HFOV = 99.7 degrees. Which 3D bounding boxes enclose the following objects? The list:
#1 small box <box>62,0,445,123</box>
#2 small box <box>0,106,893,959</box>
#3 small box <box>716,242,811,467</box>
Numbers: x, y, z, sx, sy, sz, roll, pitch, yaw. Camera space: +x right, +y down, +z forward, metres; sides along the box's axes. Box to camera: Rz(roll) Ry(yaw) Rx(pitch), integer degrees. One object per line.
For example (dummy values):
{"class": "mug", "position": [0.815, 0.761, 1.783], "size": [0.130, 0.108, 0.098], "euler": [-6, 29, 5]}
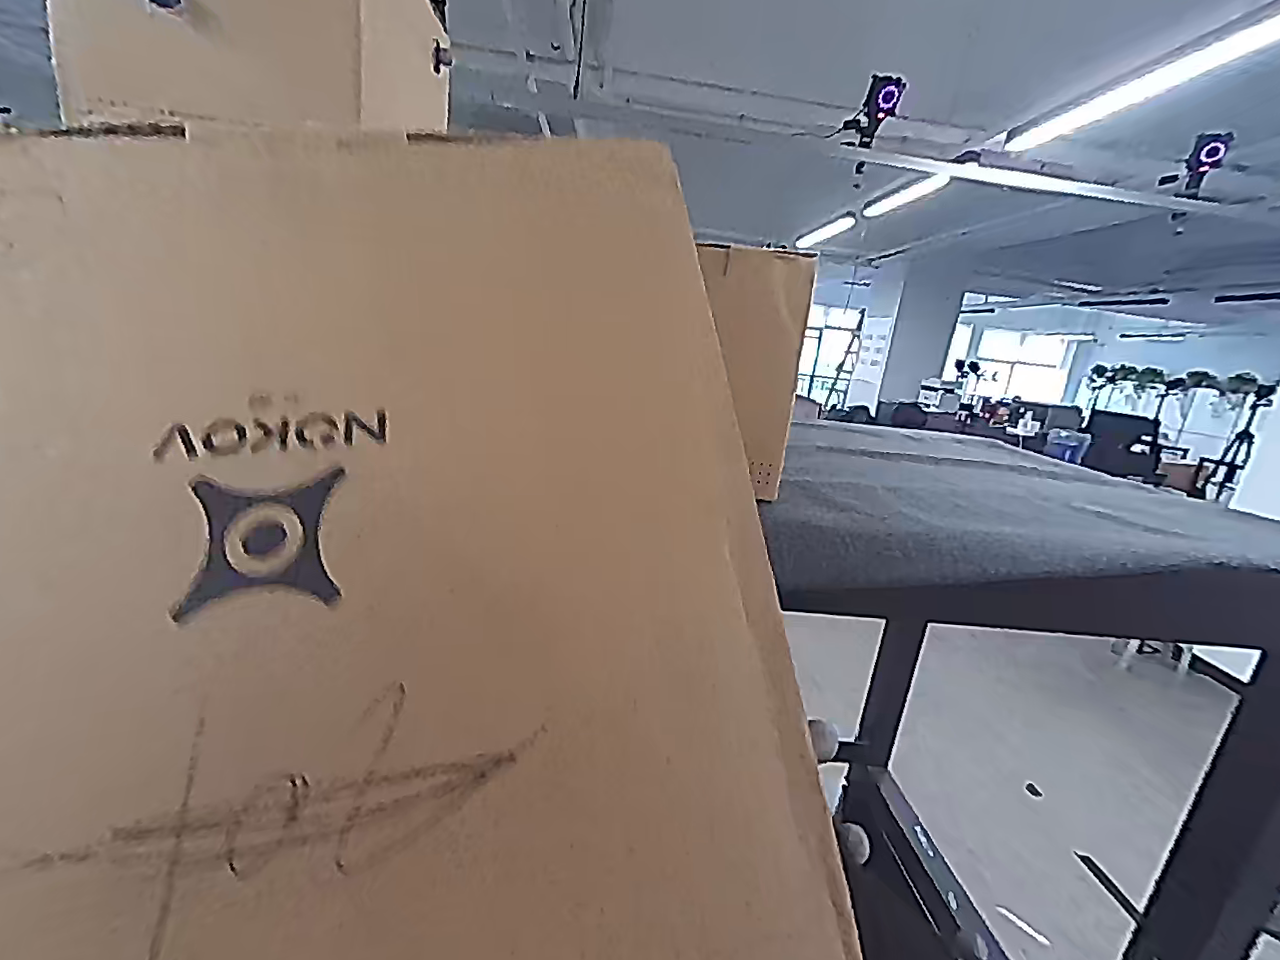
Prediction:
{"class": "small box", "position": [-0.244, -0.276, 0.382], "size": [0.168, 0.176, 0.179], "euler": [5, 13, -5]}
{"class": "small box", "position": [-0.066, 0.029, 0.164], "size": [0.168, 0.179, 0.176], "euler": [-6, -19, -10]}
{"class": "small box", "position": [0.022, -0.093, 0.446], "size": [0.168, 0.176, 0.179], "euler": [6, 12, -4]}
